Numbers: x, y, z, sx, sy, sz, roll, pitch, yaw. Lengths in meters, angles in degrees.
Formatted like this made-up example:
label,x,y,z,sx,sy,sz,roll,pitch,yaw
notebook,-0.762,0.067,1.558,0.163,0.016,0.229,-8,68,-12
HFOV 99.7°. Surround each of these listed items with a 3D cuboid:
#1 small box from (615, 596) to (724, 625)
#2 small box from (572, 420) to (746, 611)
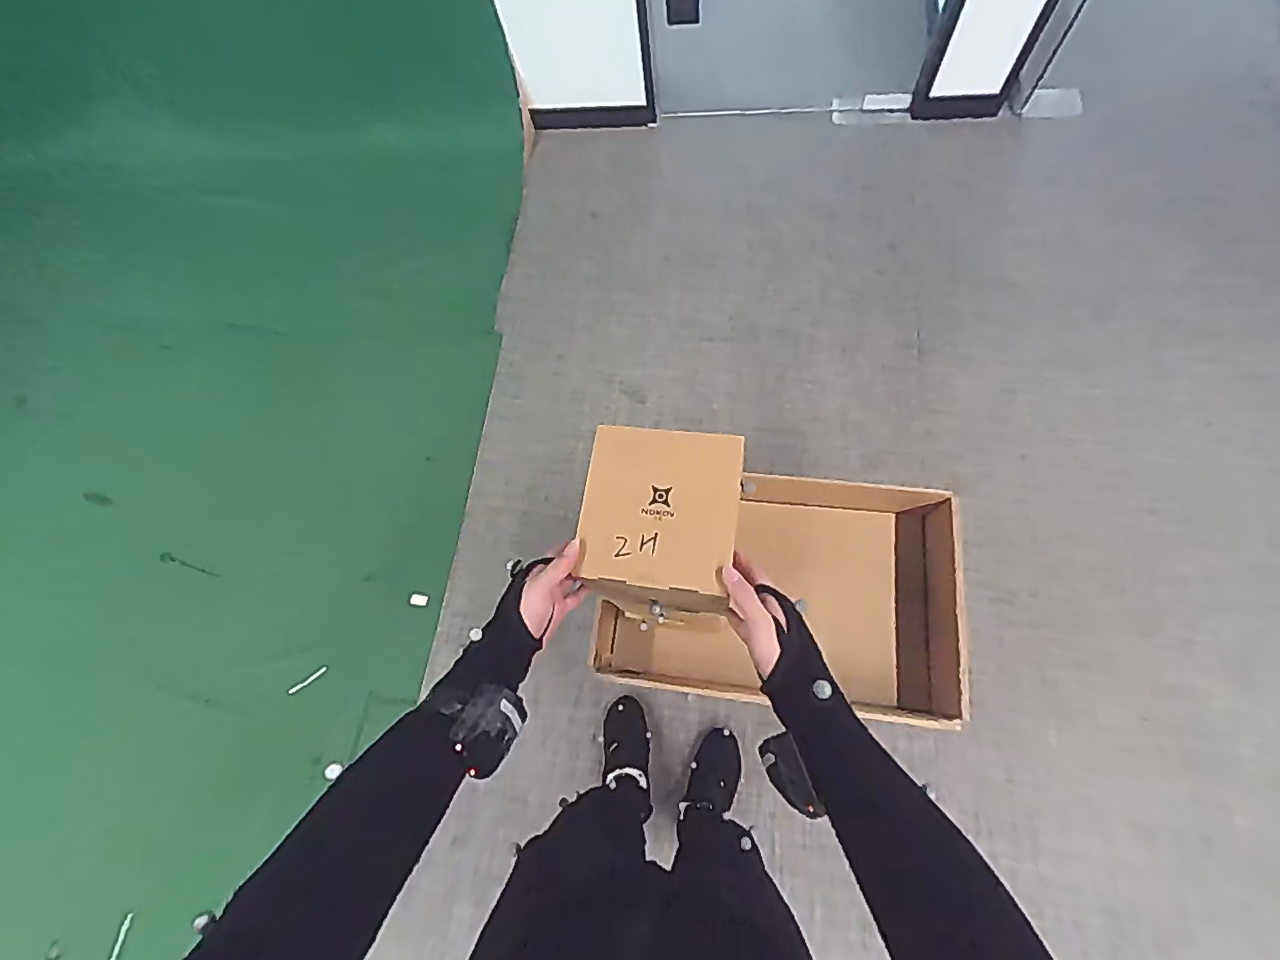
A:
label,x,y,z,sx,sy,sz,roll,pitch,yaw
small box,0.059,0.125,0.864,0.168,0.176,0.179,7,71,10
small box,0.032,0.049,0.649,0.168,0.176,0.179,6,70,11
